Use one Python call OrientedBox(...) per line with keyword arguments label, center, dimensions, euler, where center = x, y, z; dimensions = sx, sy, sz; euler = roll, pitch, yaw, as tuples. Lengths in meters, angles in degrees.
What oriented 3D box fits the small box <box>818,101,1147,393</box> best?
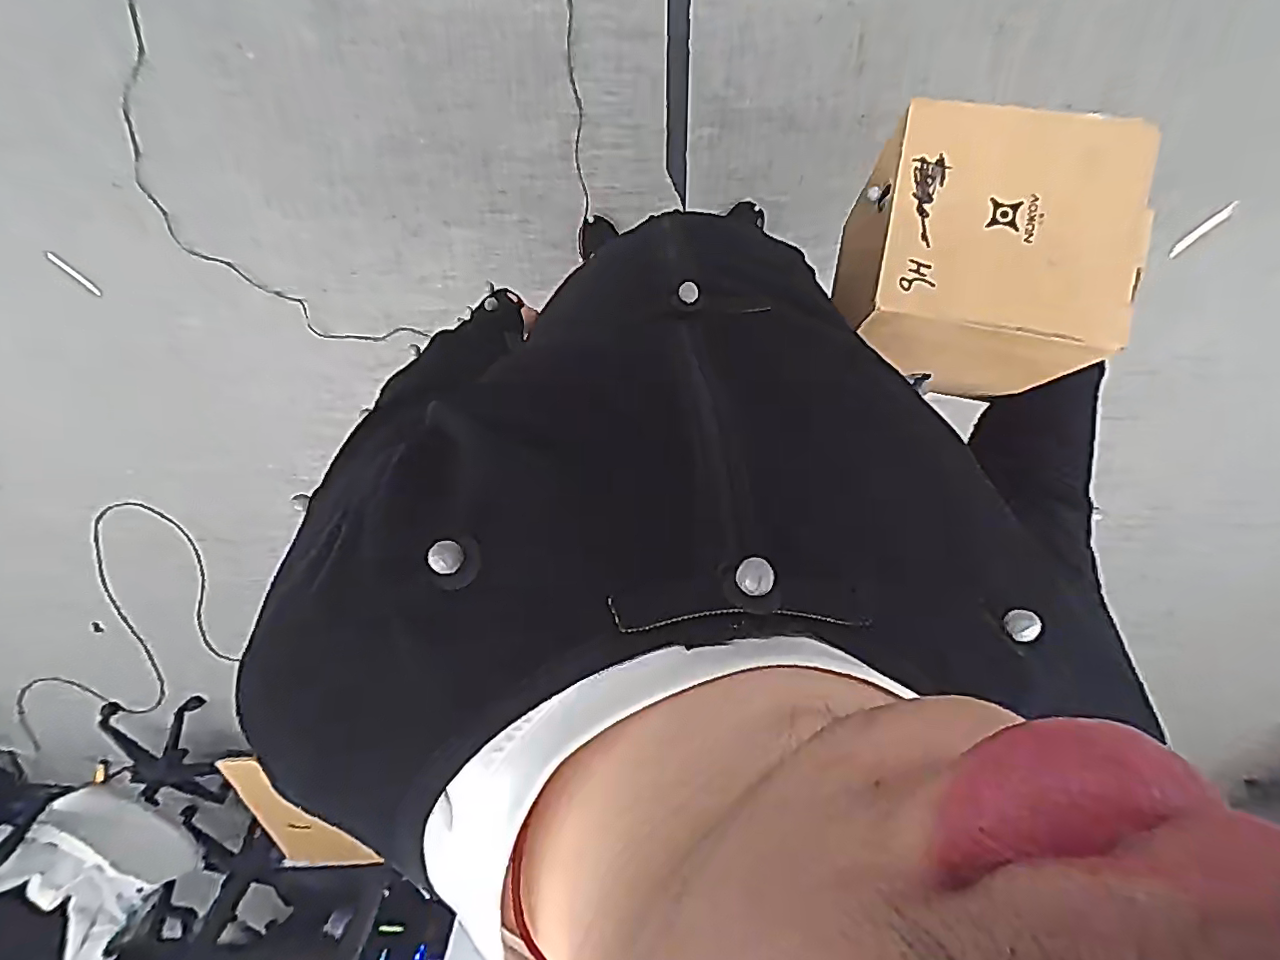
OrientedBox(label="small box", center=(0.279, -0.185, 0.481), dimensions=(0.179, 0.176, 0.168), euler=(12, 85, 5))
